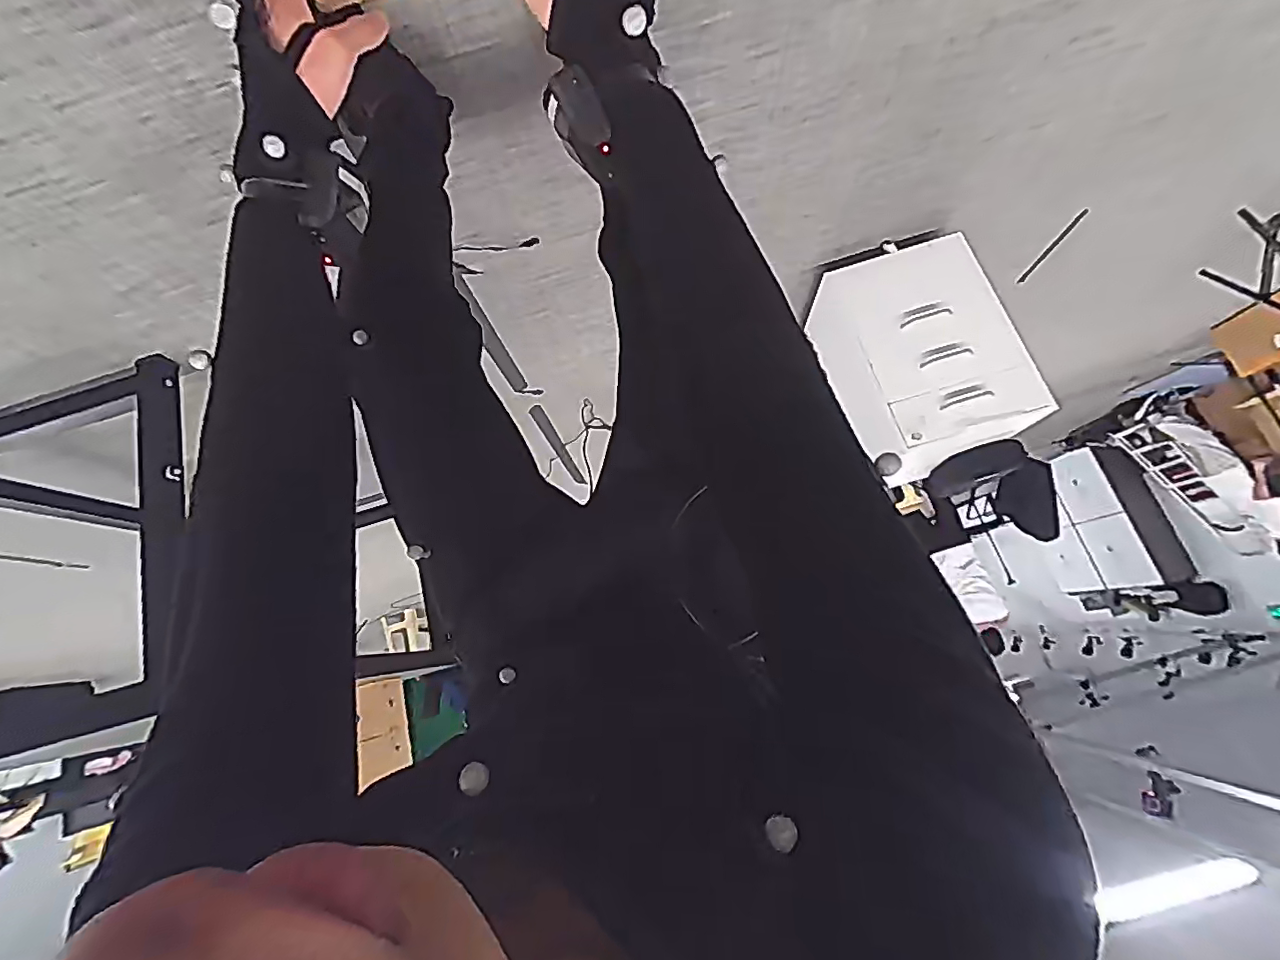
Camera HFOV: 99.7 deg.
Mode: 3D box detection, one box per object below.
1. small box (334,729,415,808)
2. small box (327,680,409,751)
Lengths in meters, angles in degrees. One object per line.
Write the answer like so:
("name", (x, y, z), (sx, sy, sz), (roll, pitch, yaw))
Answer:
("small box", (-0.850, 0.913, 1.726), (0.179, 0.176, 0.168), (-17, 164, 2))
("small box", (-0.892, 0.761, 1.773), (0.179, 0.176, 0.168), (-17, 163, 2))
